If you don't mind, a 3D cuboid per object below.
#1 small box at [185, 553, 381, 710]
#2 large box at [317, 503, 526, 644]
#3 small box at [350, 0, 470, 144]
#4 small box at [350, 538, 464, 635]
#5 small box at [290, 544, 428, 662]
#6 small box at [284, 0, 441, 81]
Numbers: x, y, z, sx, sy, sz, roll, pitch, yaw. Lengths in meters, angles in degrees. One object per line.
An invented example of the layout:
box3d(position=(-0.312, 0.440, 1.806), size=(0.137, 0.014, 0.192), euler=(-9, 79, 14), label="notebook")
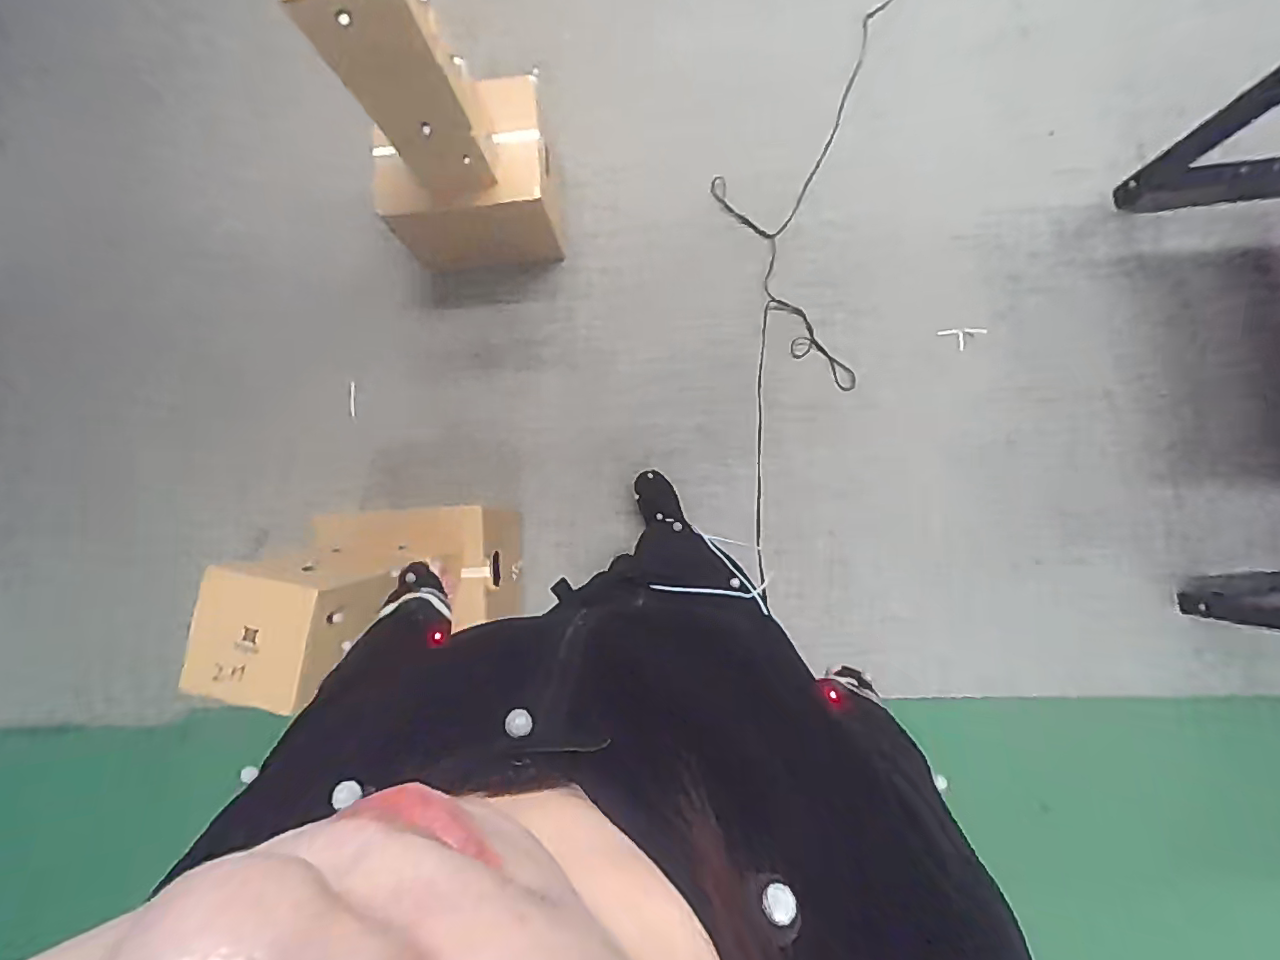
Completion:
box3d(position=(-0.522, 0.214, 0.818), size=(0.168, 0.176, 0.179), euler=(12, 88, 4), label="small box")
box3d(position=(-0.536, 0.226, 1.390), size=(0.408, 0.320, 0.320), euler=(-3, 86, 4), label="large box")
box3d(position=(-0.440, -0.788, 1.038), size=(0.179, 0.176, 0.168), euler=(-12, 87, 2), label="small box")
box3d(position=(-0.499, 0.216, 1.145), size=(0.179, 0.176, 0.168), euler=(8, 88, 3), label="small box")
box3d(position=(-0.517, 0.213, 0.983), size=(0.179, 0.176, 0.168), euler=(11, 88, 3), label="small box")
box3d(position=(-0.451, -0.794, 0.873), size=(0.179, 0.176, 0.168), euler=(-12, 88, 2), label="small box")
